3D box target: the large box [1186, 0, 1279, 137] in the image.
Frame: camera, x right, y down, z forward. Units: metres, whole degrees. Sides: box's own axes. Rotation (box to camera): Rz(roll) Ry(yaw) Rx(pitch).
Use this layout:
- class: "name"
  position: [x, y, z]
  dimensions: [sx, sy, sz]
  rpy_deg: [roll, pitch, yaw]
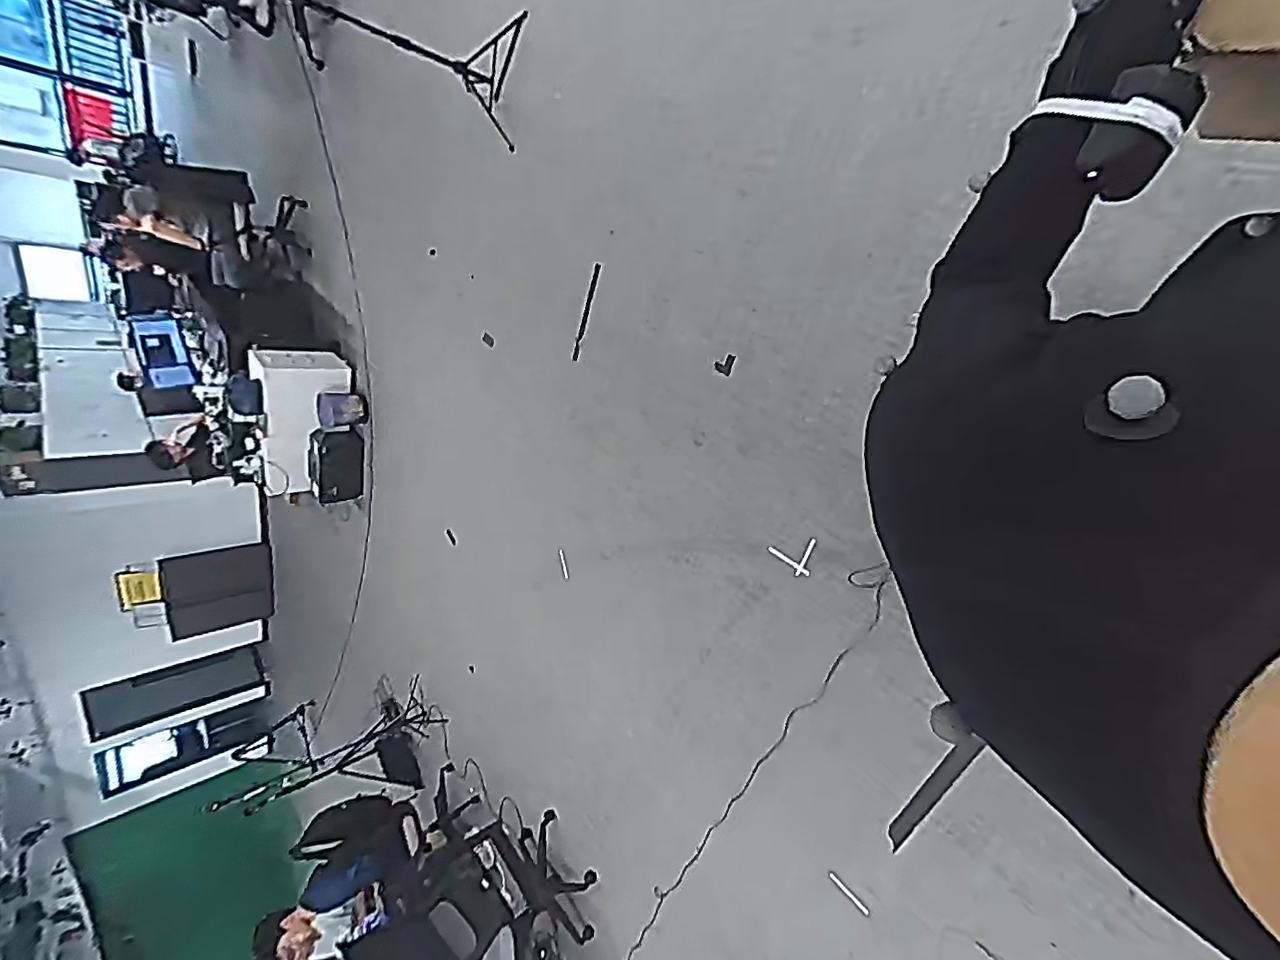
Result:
- class: "large box"
  position: [0.624, -0.379, 0.276]
  dimensions: [0.408, 0.320, 0.320]
  rpy_deg: [31, 126, 37]
